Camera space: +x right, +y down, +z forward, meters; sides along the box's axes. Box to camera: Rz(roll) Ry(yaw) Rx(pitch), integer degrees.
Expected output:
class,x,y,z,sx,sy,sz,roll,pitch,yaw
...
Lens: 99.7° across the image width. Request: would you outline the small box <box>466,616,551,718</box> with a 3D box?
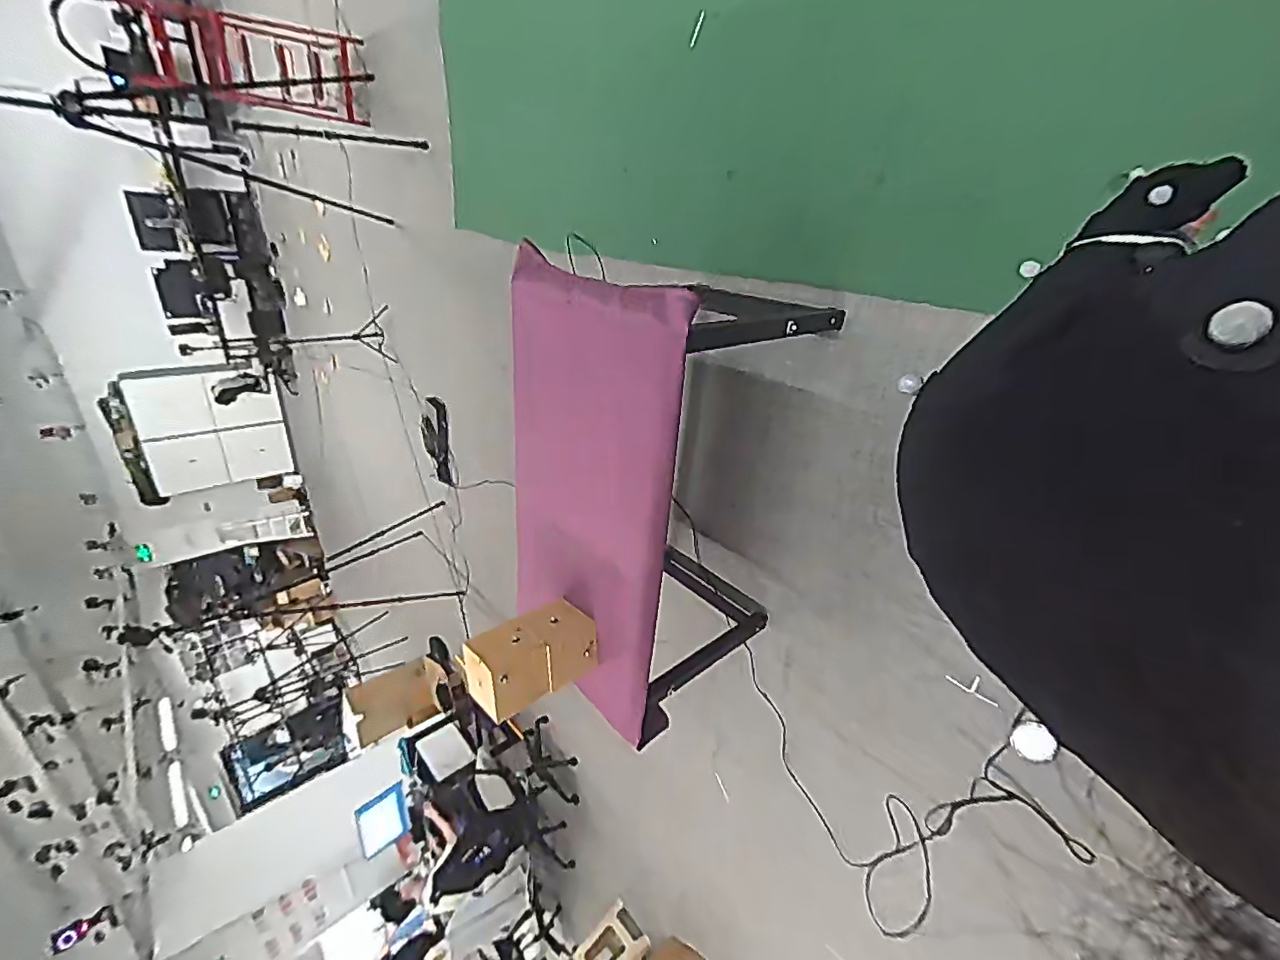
class,x,y,z,sx,sy,sz,roll,pitch,yaw
small box,-0.361,0.511,1.504,0.168,0.176,0.179,20,119,44
